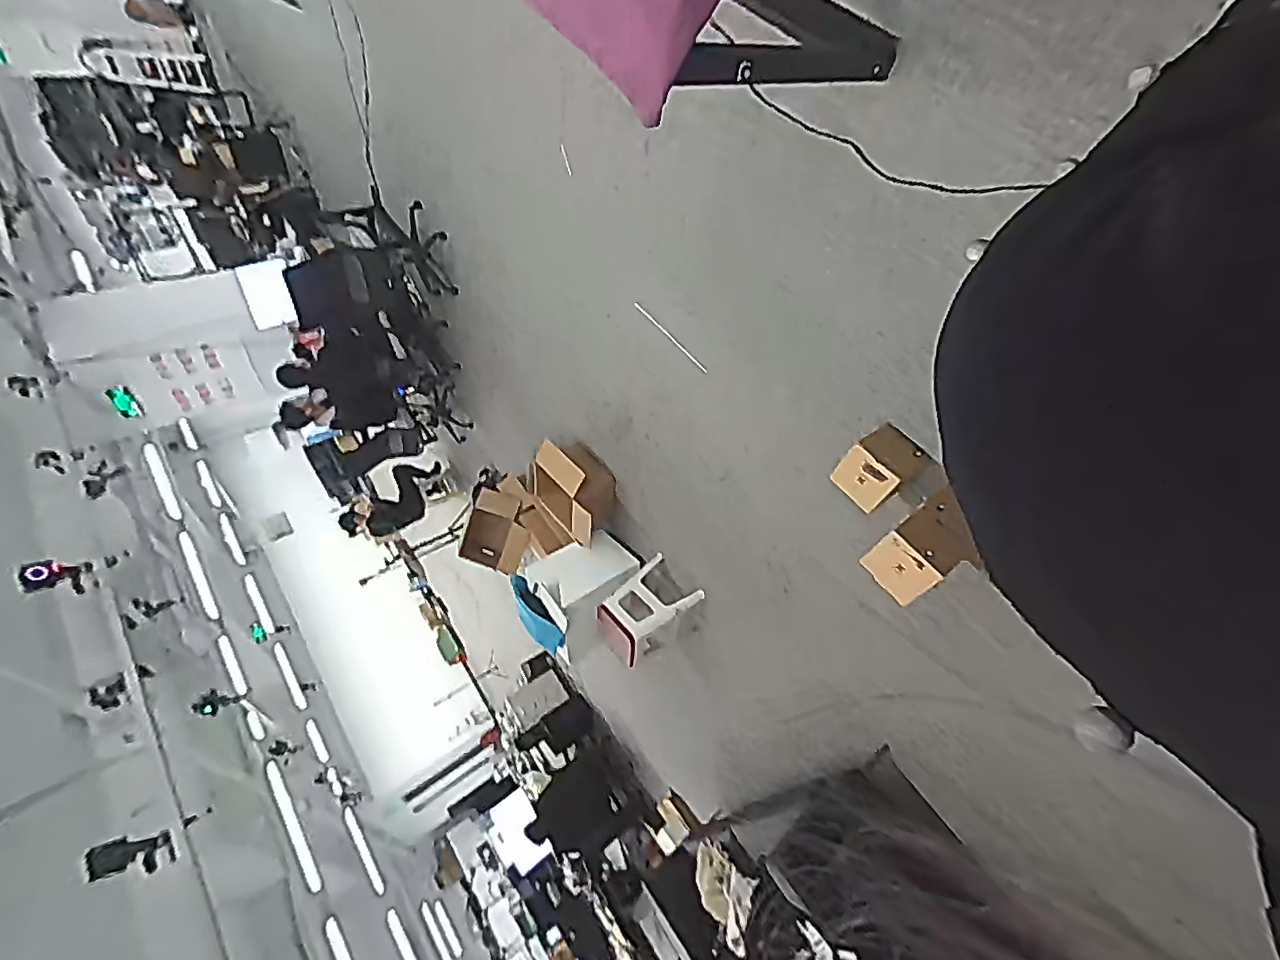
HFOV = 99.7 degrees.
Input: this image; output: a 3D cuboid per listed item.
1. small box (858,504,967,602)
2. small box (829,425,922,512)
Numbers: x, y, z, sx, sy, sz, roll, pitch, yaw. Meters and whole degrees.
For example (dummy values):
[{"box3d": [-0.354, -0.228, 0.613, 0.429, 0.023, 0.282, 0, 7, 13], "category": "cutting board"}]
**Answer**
[{"box3d": [0.743, 0.198, 1.473, 0.168, 0.176, 0.179, 50, 148, 22], "category": "small box"}, {"box3d": [0.721, -0.040, 1.645, 0.168, 0.176, 0.179, 50, 147, 23], "category": "small box"}]
